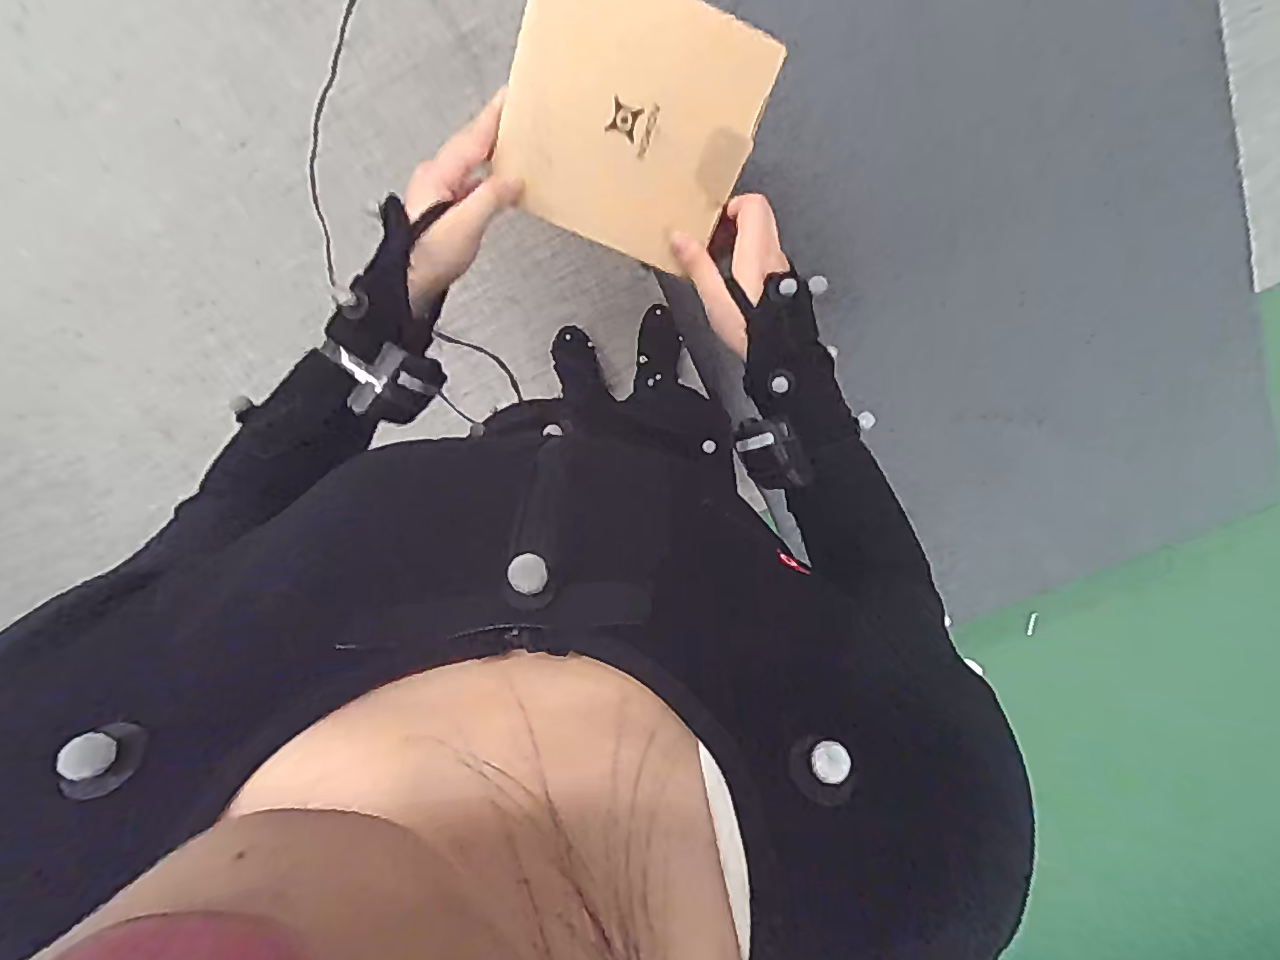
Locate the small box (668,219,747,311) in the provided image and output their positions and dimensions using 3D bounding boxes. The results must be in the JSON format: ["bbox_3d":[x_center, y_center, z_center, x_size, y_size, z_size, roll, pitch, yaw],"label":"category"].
[{"bbox_3d":[0.153,-0.494,1.258,0.168,0.176,0.179,-5,107,3],"label":"small box"}]

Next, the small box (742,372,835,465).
[{"bbox_3d":[0.366,-0.163,1.359,0.168,0.176,0.179,-19,108,9],"label":"small box"}]
